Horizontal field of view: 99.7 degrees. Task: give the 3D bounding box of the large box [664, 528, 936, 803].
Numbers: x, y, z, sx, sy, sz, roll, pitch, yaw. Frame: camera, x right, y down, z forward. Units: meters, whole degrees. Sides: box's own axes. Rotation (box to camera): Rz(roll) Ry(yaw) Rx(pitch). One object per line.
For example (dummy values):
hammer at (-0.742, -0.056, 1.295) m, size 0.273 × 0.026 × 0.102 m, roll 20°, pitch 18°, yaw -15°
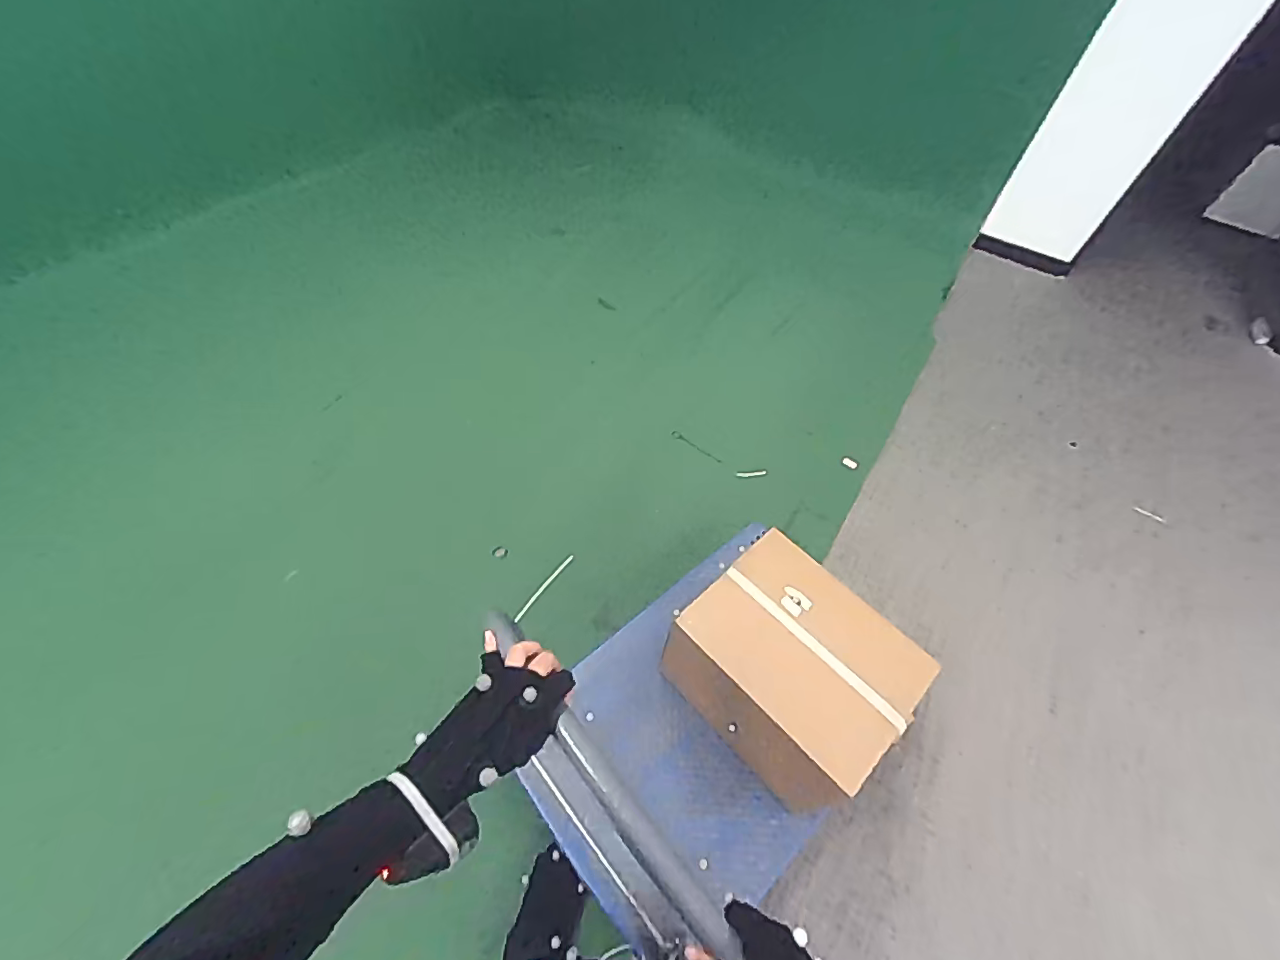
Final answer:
large box at (0.305, 0.388, 1.140) m, size 0.320 × 0.320 × 0.408 m, roll -36°, pitch 63°, yaw -27°
